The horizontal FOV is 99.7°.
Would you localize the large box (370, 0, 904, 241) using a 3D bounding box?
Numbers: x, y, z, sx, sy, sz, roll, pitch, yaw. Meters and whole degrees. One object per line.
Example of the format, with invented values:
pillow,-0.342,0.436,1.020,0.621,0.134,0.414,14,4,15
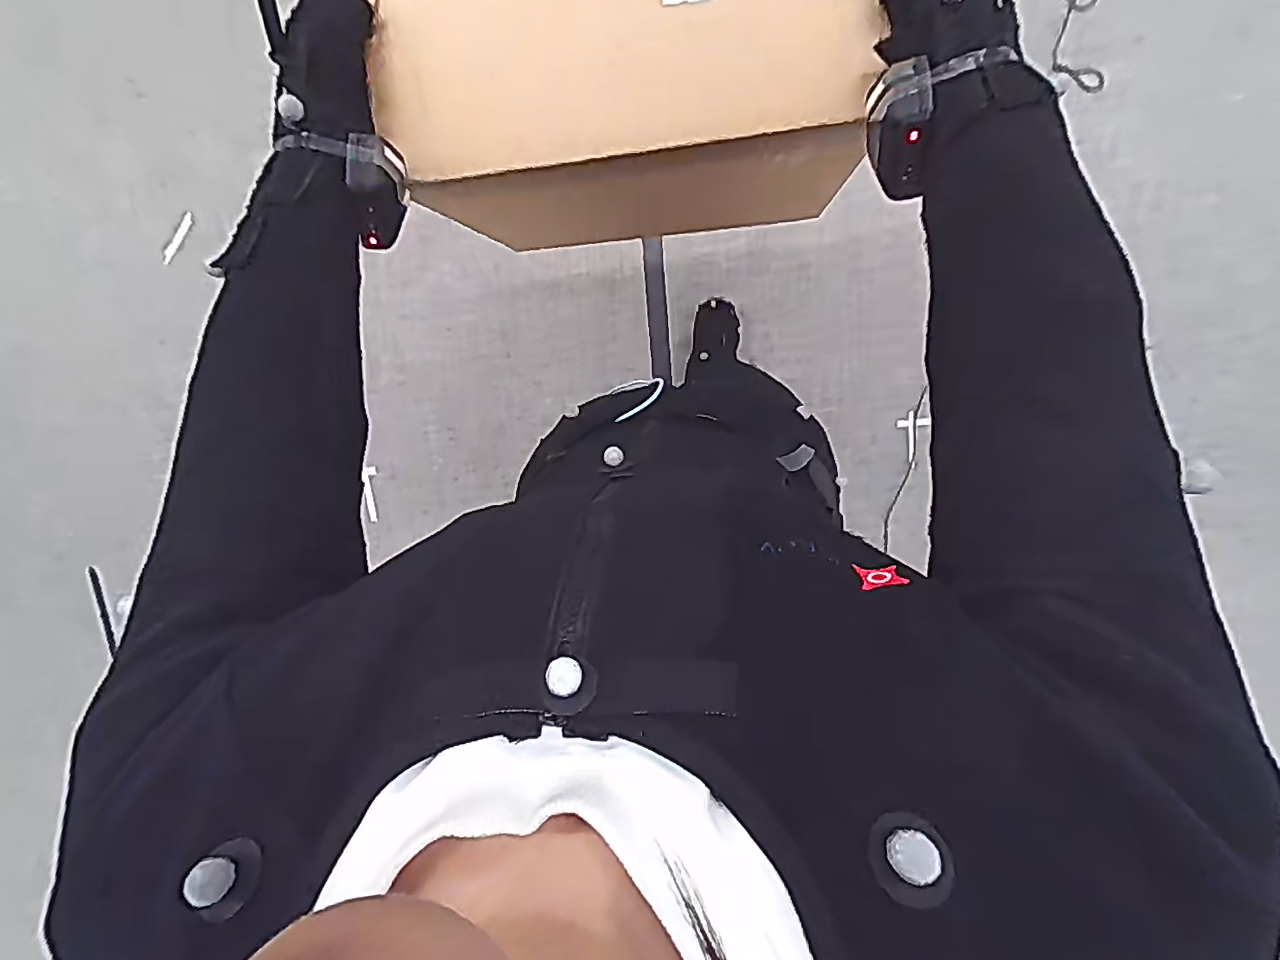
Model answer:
large box,-0.002,-0.452,0.534,0.408,0.320,0.320,-4,104,8
